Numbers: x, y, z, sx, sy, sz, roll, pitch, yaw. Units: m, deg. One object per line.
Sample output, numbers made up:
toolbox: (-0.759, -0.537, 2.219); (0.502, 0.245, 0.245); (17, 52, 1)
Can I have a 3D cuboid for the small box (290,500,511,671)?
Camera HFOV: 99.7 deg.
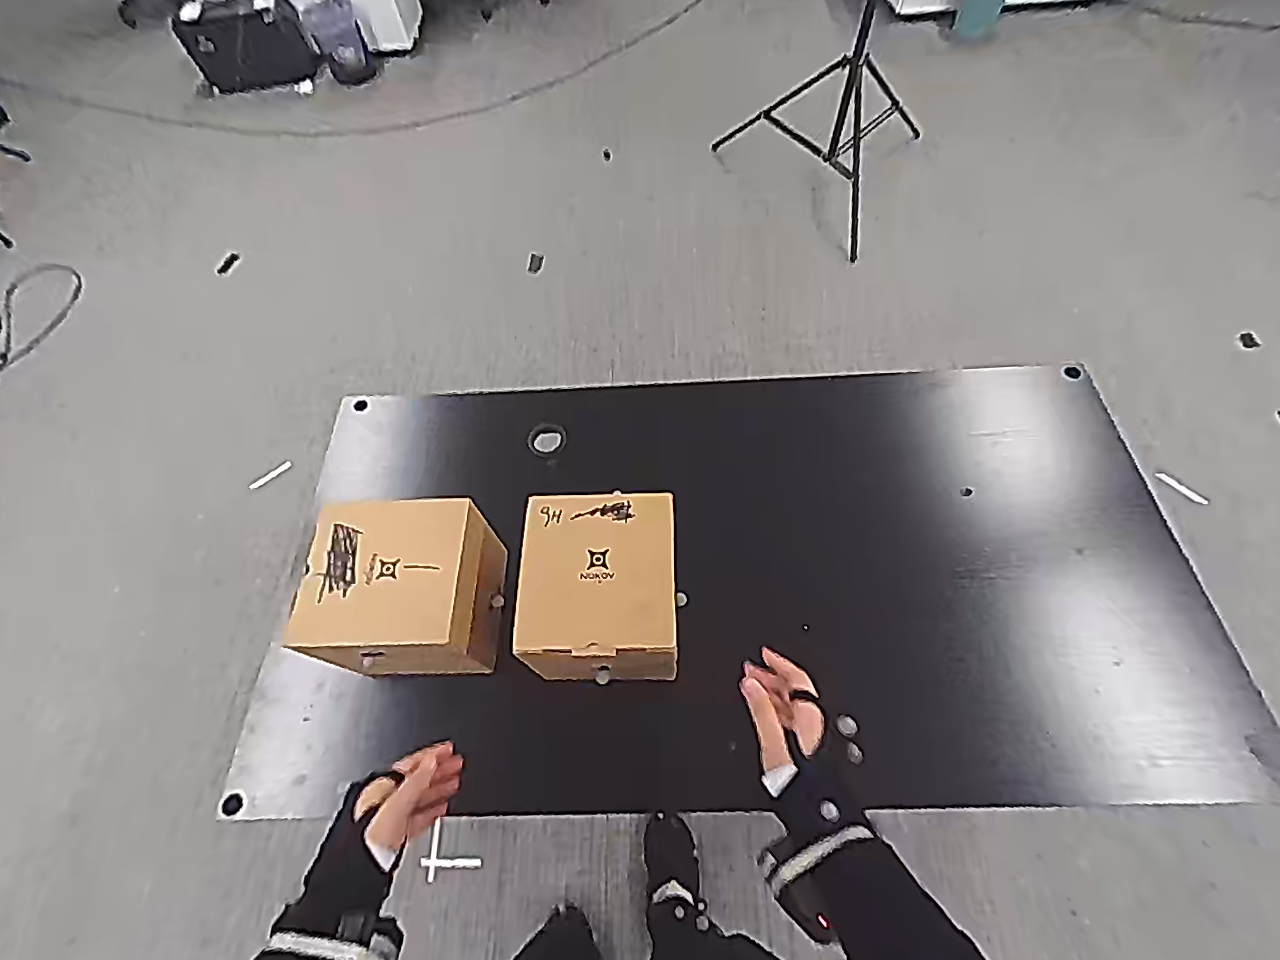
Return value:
small box: (-0.272, 0.136, 0.661); (0.179, 0.176, 0.168); (-2, 62, 2)
